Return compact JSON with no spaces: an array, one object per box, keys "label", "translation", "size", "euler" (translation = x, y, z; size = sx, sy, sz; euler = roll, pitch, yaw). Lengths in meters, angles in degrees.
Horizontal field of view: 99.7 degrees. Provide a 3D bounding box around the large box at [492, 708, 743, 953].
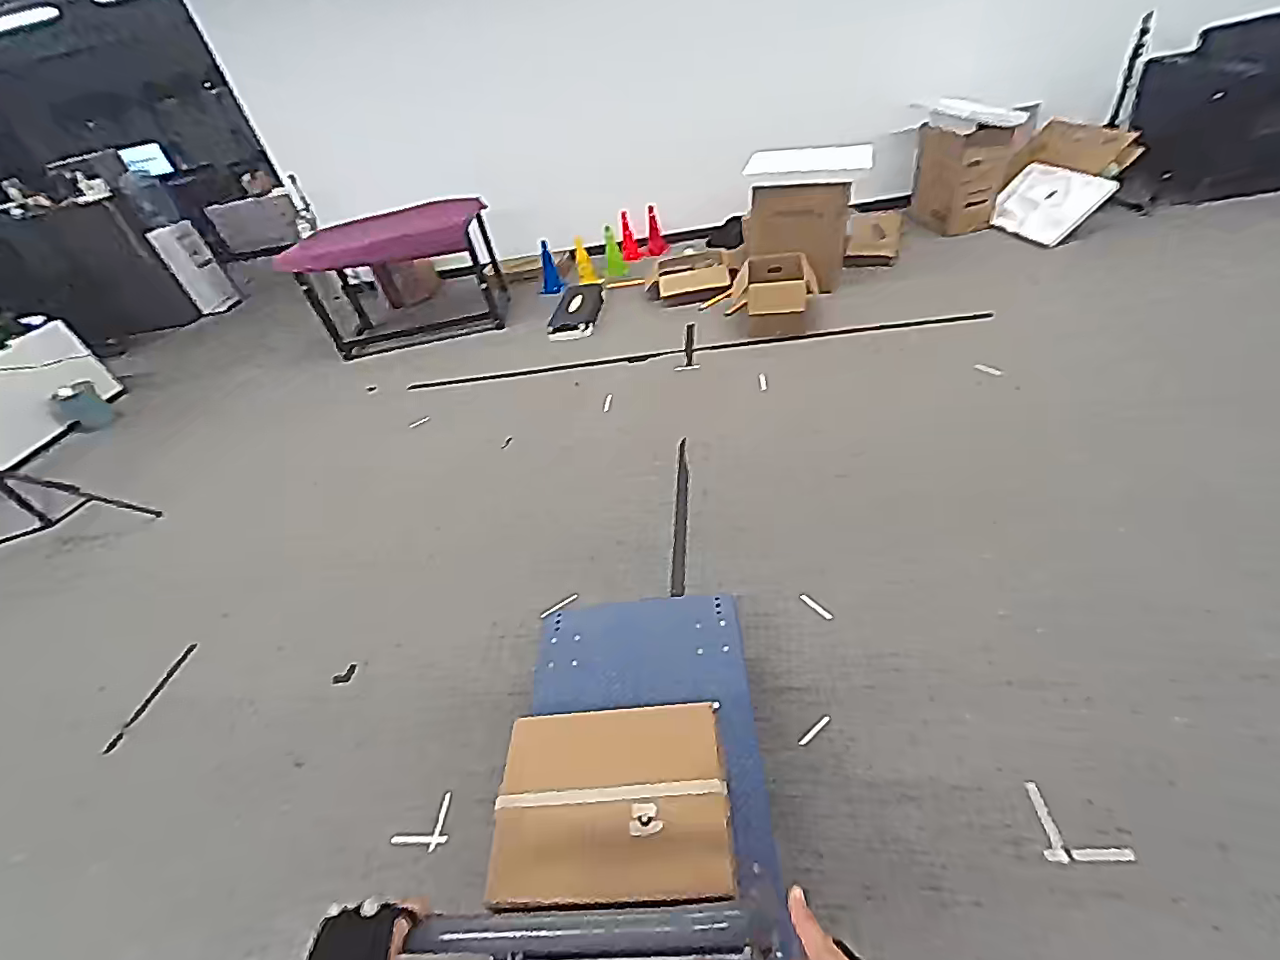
[{"label":"large box","translation":[-0.024,0.684,1.054],"size":[0.408,0.320,0.320],"euler":[-7,41,5]}]
